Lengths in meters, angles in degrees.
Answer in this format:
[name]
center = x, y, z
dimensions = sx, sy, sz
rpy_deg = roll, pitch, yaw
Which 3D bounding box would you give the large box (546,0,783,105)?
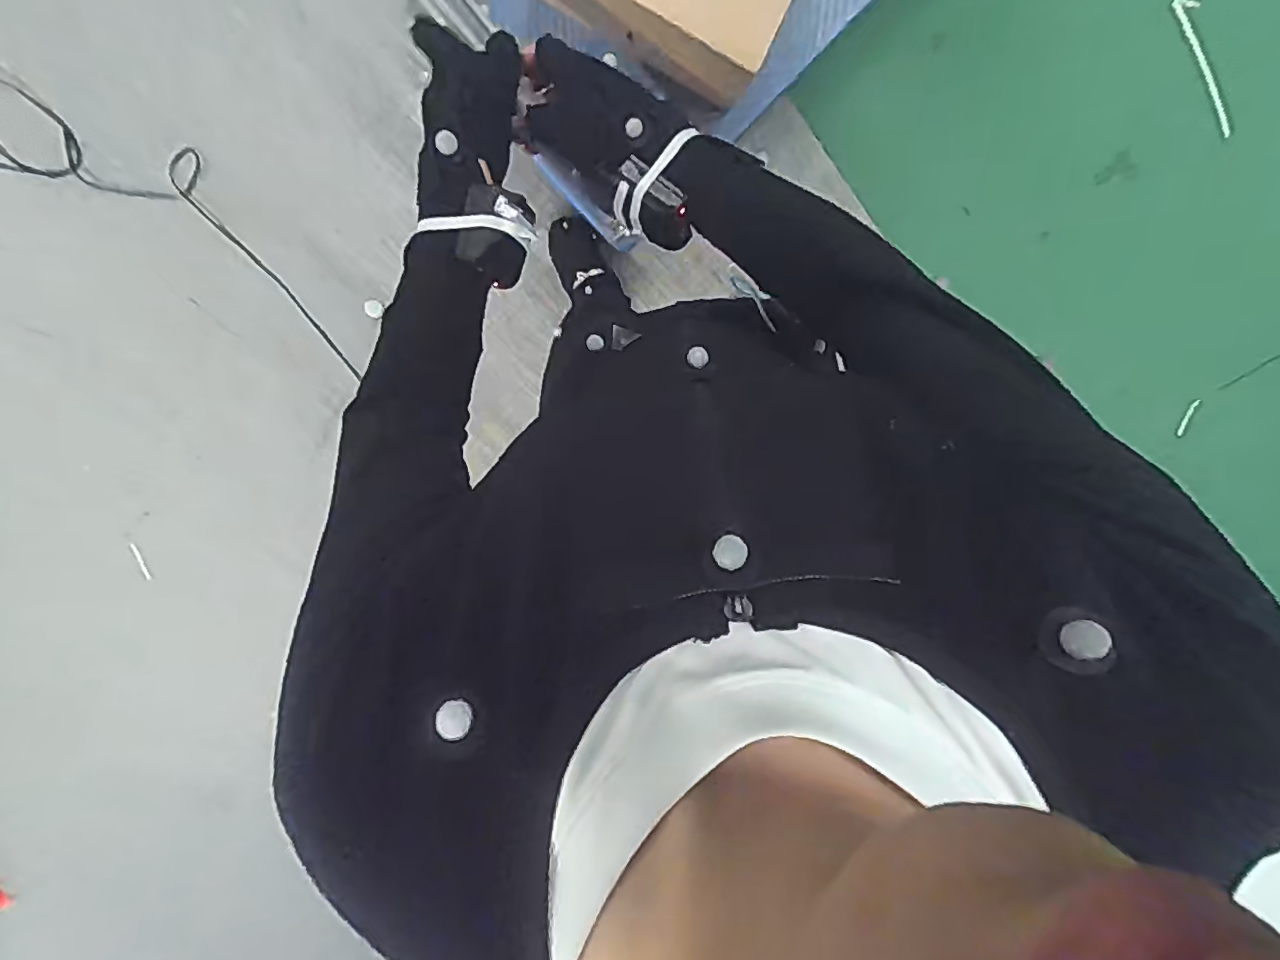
[large box]
center = 0.045, -0.835, 0.796
dimensions = 0.408, 0.320, 0.320
rpy_deg = 25, 114, -10
